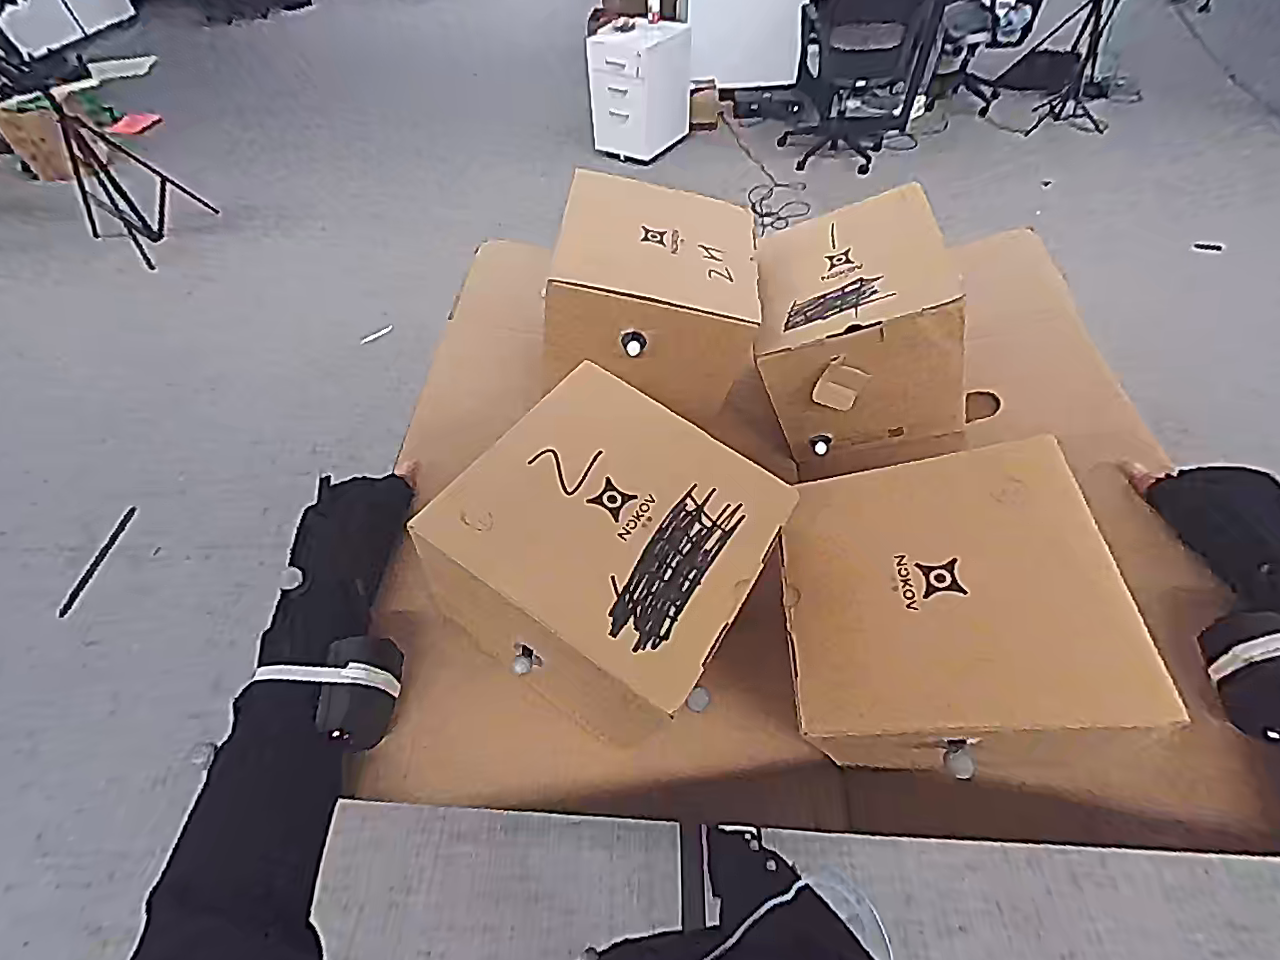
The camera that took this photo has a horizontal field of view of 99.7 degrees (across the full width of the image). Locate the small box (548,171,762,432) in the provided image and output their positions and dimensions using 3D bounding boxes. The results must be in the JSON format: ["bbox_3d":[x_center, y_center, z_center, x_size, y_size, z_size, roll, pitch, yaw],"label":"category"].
[{"bbox_3d":[0.007,-0.167,0.542,0.179,0.176,0.168,10,57,-7],"label":"small box"}]
